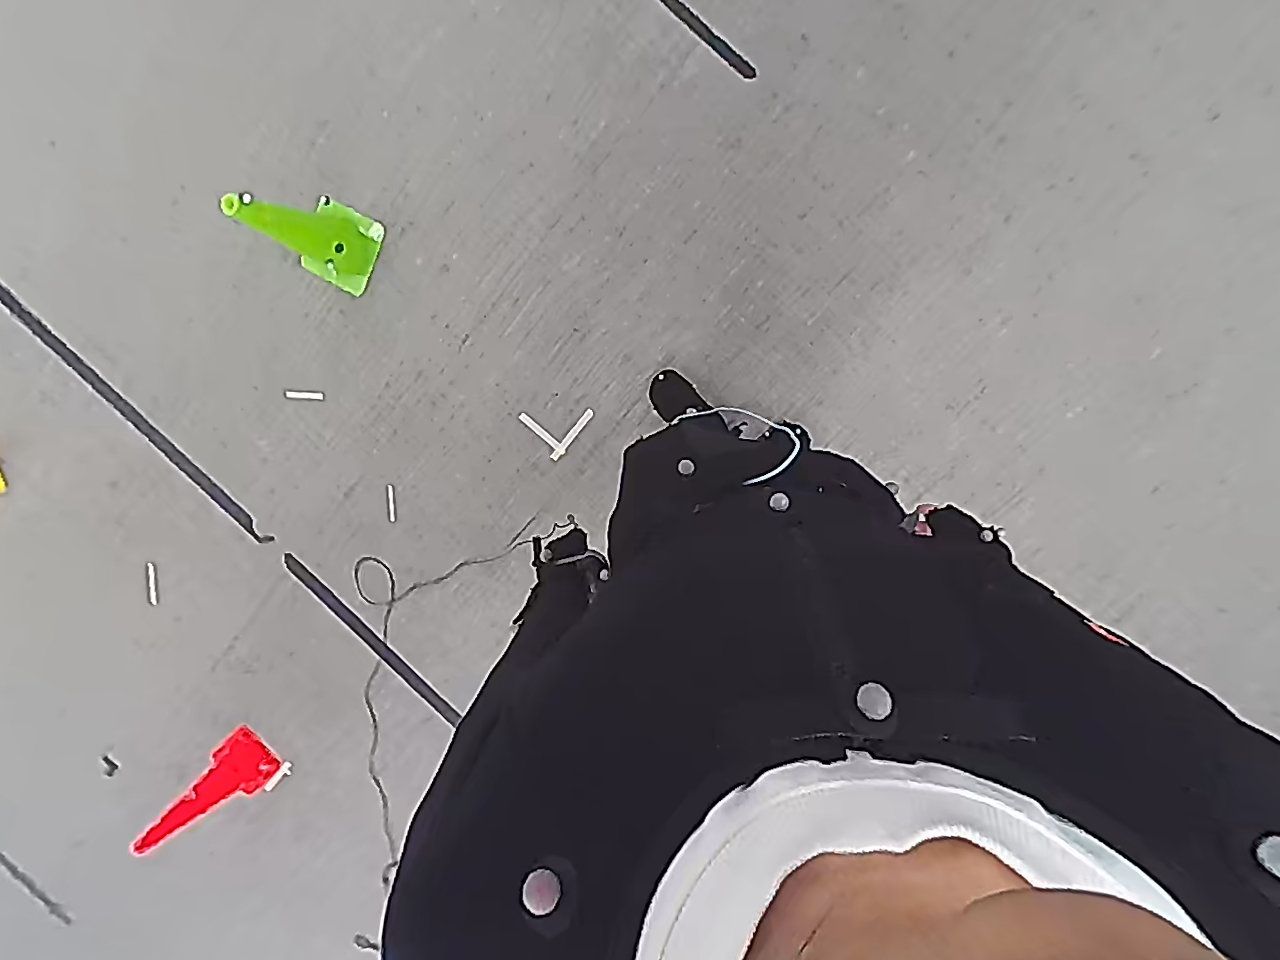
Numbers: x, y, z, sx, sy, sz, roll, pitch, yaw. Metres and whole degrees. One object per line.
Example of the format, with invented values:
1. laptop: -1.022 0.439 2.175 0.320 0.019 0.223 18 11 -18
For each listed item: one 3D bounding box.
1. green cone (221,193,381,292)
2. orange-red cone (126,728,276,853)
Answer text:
1. green cone: -0.832 -0.604 1.289 0.202 0.368 0.200 28 103 1
2. orange-red cone: -1.351 0.966 1.634 0.198 0.360 0.199 -39 91 12
